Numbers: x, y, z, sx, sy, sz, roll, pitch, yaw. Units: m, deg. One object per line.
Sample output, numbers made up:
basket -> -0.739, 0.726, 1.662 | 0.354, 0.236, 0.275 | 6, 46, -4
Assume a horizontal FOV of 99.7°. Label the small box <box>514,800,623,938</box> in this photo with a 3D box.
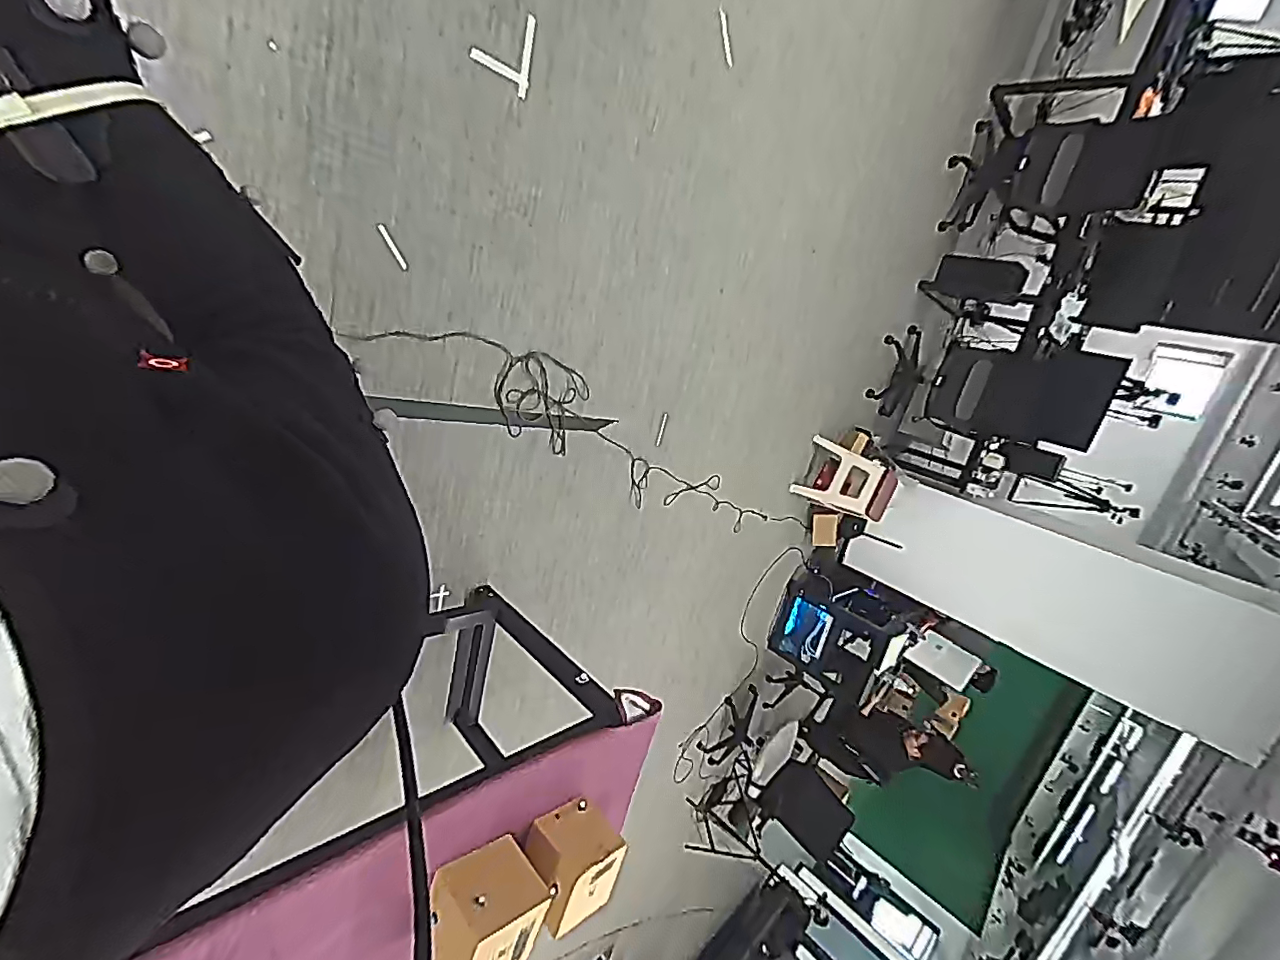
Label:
small box -> -0.172, 0.894, 1.270 | 0.168, 0.176, 0.179 | 6, 106, -50
